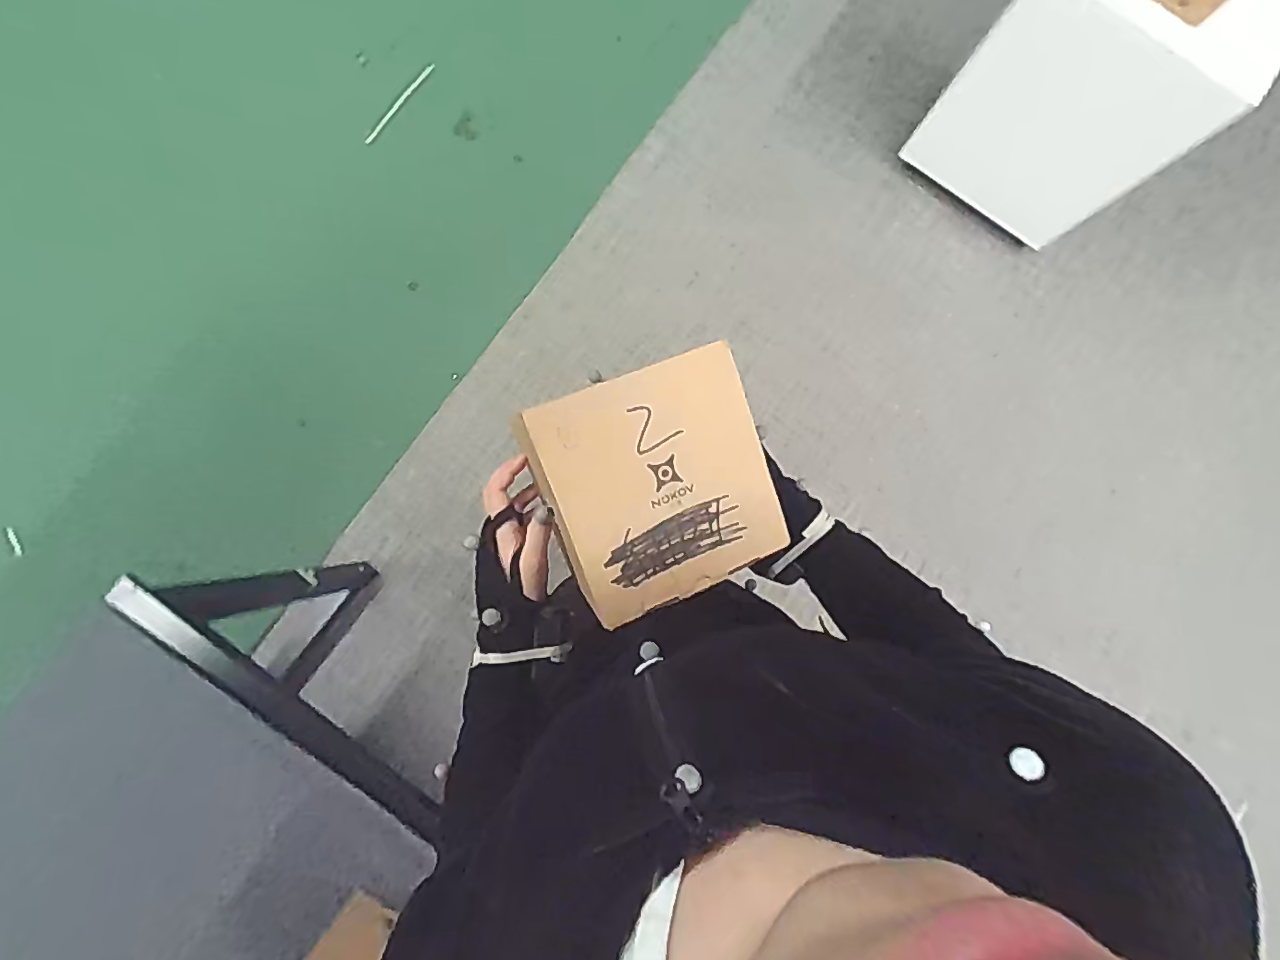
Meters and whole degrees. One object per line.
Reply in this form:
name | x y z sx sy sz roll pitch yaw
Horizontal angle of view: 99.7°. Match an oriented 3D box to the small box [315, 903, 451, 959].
small box | -0.345 0.658 0.622 0.168 0.176 0.179 33 85 0
